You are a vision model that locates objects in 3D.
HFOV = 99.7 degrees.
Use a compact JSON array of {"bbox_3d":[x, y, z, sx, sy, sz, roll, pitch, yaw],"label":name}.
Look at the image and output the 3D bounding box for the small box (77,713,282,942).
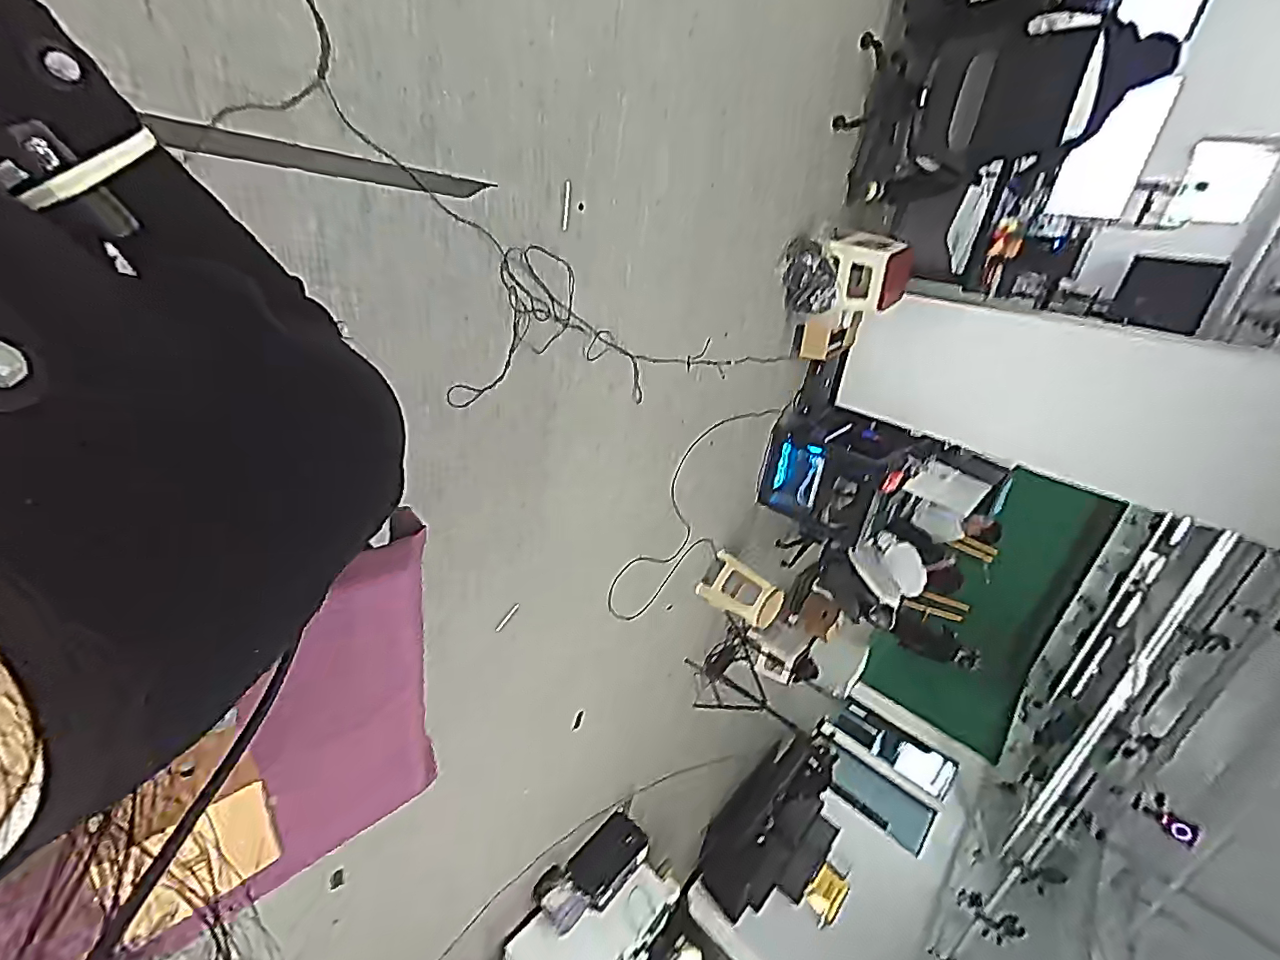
[{"bbox_3d":[-0.623,0.452,0.739,0.168,0.176,0.179,-20,128,-44],"label":"small box"}]
